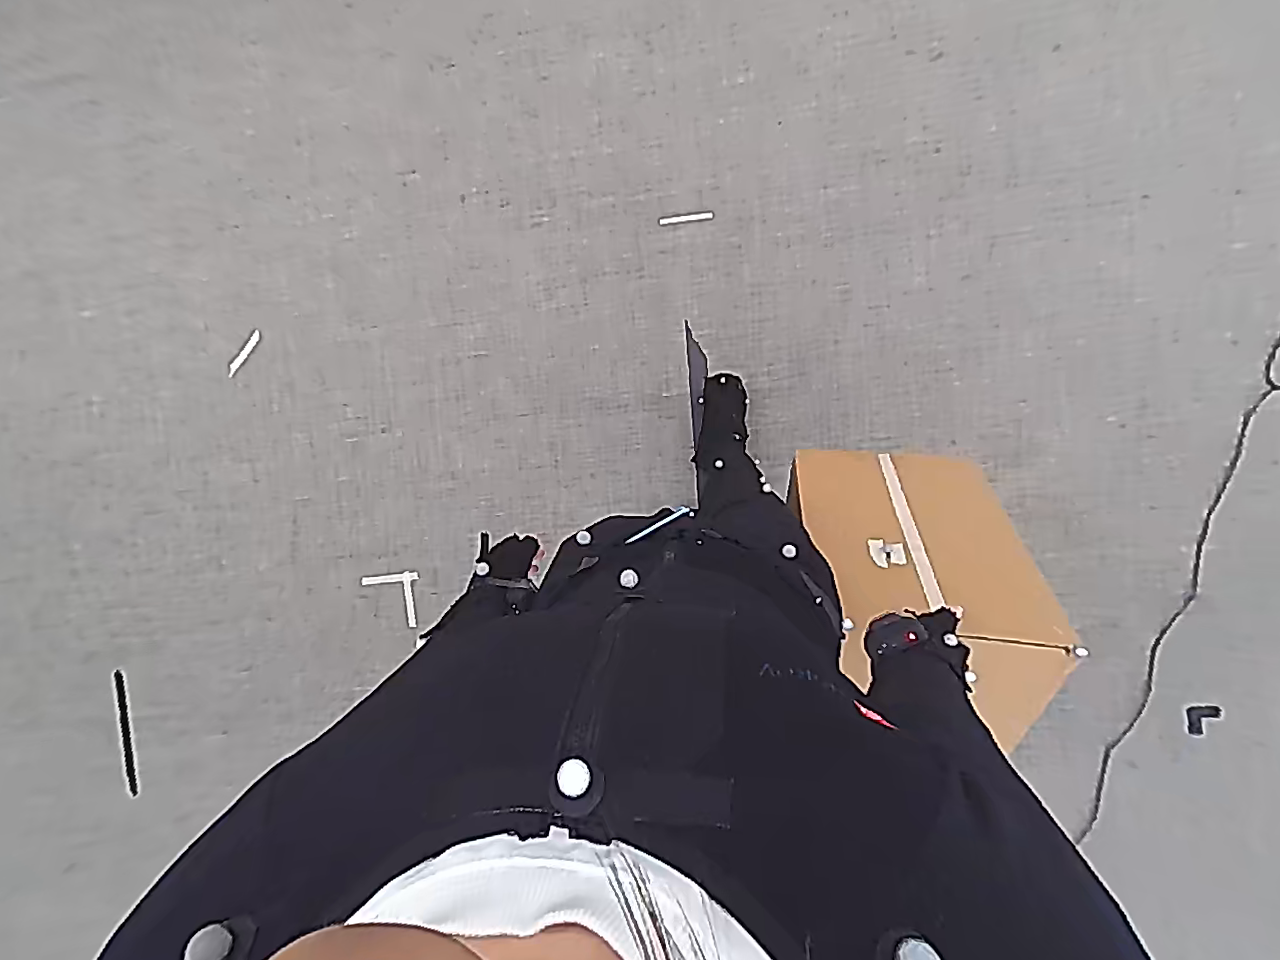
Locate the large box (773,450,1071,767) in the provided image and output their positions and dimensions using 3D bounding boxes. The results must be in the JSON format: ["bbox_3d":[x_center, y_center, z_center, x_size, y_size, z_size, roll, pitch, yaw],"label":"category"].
[{"bbox_3d":[0.403,0.193,0.913,0.320,0.408,0.320,3,128,10],"label":"large box"}]
